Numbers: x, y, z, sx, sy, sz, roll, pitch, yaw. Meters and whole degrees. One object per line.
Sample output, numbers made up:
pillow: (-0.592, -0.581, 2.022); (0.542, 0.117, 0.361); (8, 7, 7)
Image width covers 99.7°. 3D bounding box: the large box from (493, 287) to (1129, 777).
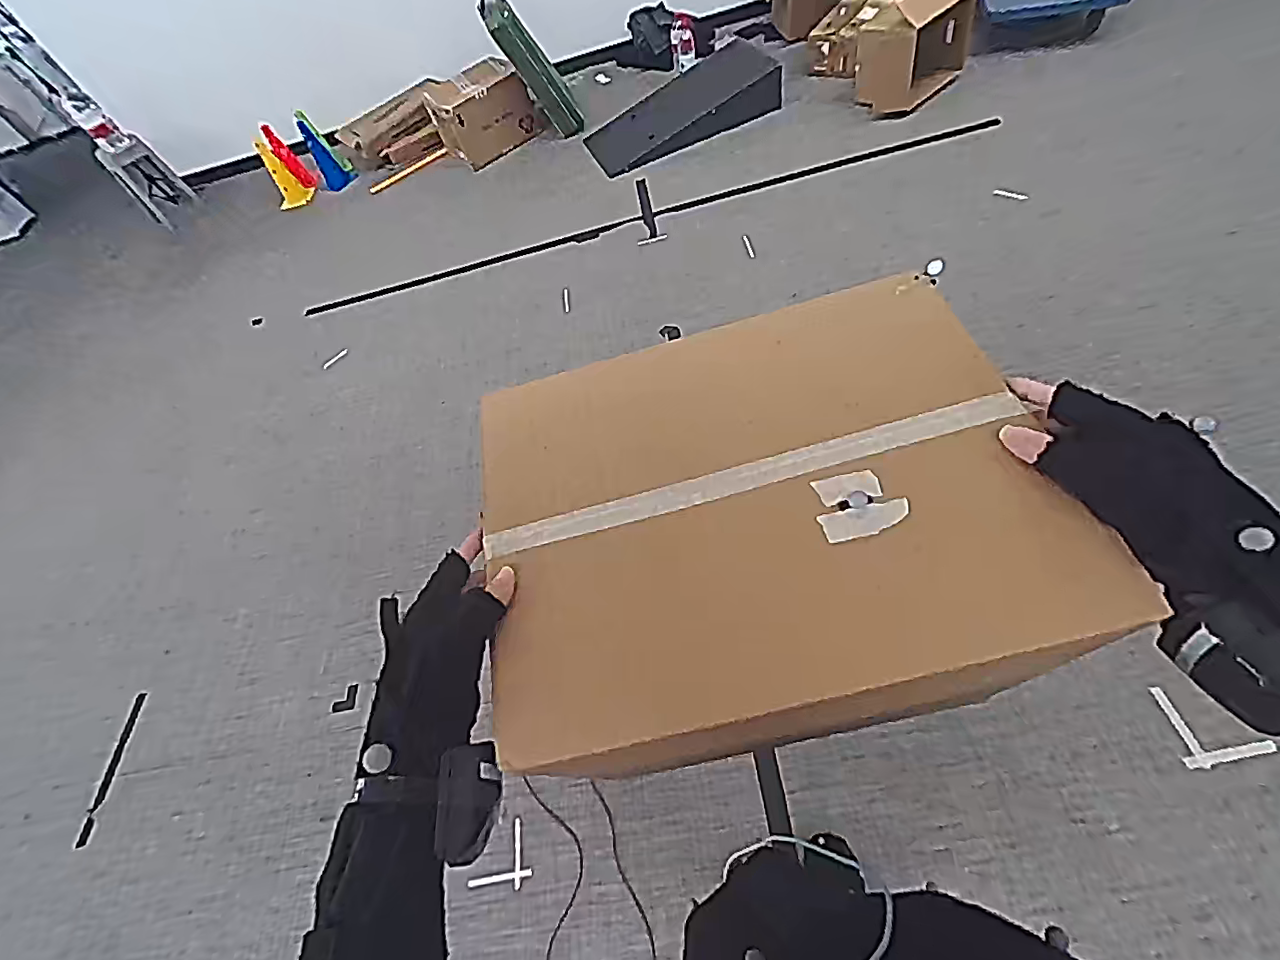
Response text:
large box: (0.108, 0.078, 0.543); (0.408, 0.320, 0.320); (-15, 59, 4)
